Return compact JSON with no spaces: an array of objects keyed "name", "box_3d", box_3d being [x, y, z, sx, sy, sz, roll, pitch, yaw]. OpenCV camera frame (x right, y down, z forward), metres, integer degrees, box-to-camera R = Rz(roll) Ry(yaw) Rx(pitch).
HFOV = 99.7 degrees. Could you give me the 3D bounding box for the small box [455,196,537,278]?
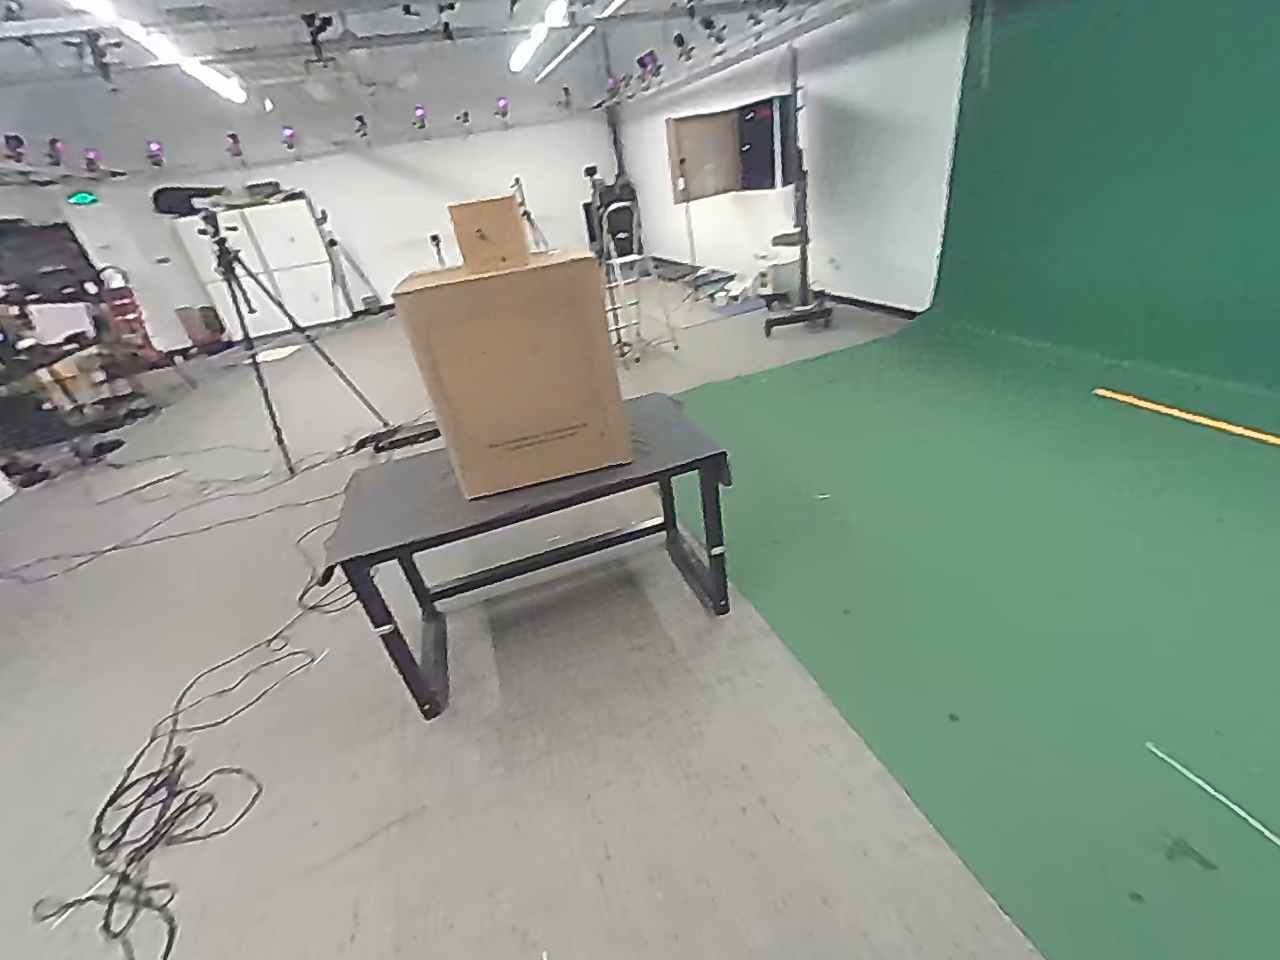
[{"name":"small box","box_3d":[-0.376,-0.647,1.442,0.168,0.176,0.179,-11,31,-3]}]
